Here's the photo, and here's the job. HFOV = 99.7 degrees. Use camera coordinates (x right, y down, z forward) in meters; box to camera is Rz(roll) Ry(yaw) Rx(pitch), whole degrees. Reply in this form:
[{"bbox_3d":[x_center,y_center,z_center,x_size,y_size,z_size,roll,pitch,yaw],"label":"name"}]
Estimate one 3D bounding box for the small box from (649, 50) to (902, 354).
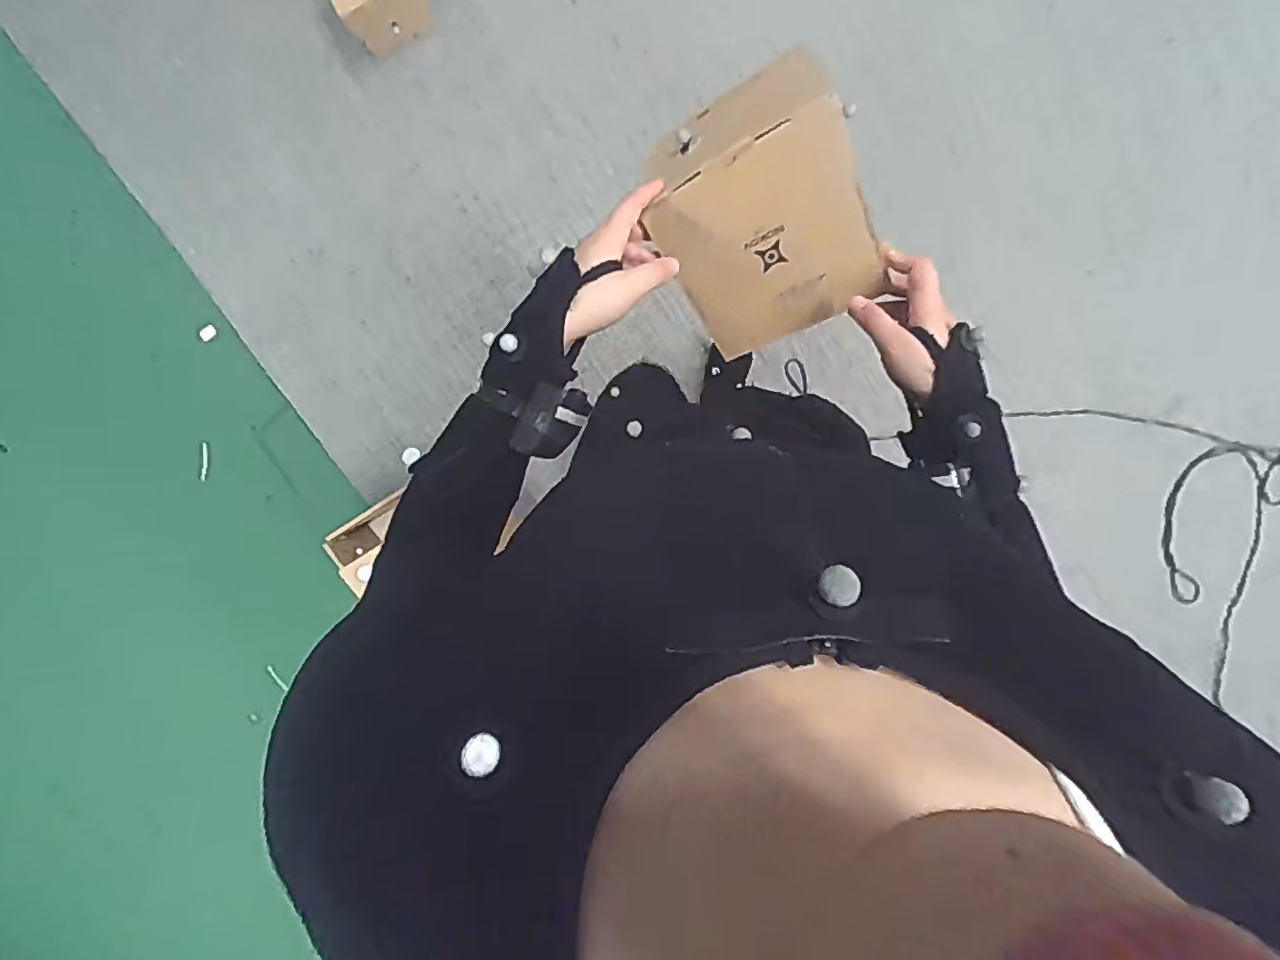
[{"bbox_3d":[0.125,-0.260,0.509,0.168,0.176,0.179,-19,134,28],"label":"small box"}]
